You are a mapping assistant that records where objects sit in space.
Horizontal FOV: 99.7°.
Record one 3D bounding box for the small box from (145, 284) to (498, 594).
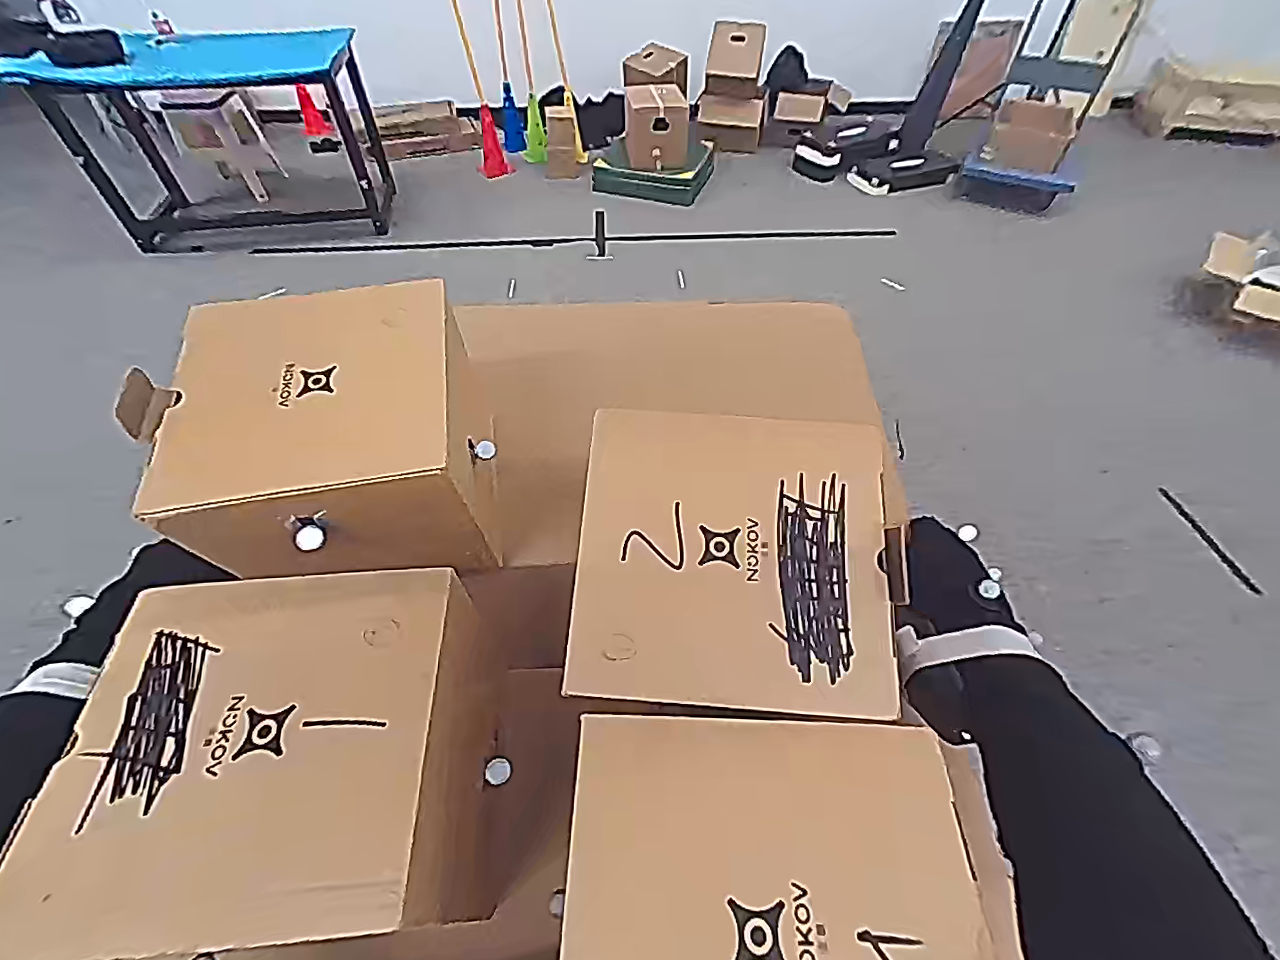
[{"bbox_3d":[-0.214,-0.023,0.425,0.179,0.176,0.168,-9,61,-5],"label":"small box"}]
